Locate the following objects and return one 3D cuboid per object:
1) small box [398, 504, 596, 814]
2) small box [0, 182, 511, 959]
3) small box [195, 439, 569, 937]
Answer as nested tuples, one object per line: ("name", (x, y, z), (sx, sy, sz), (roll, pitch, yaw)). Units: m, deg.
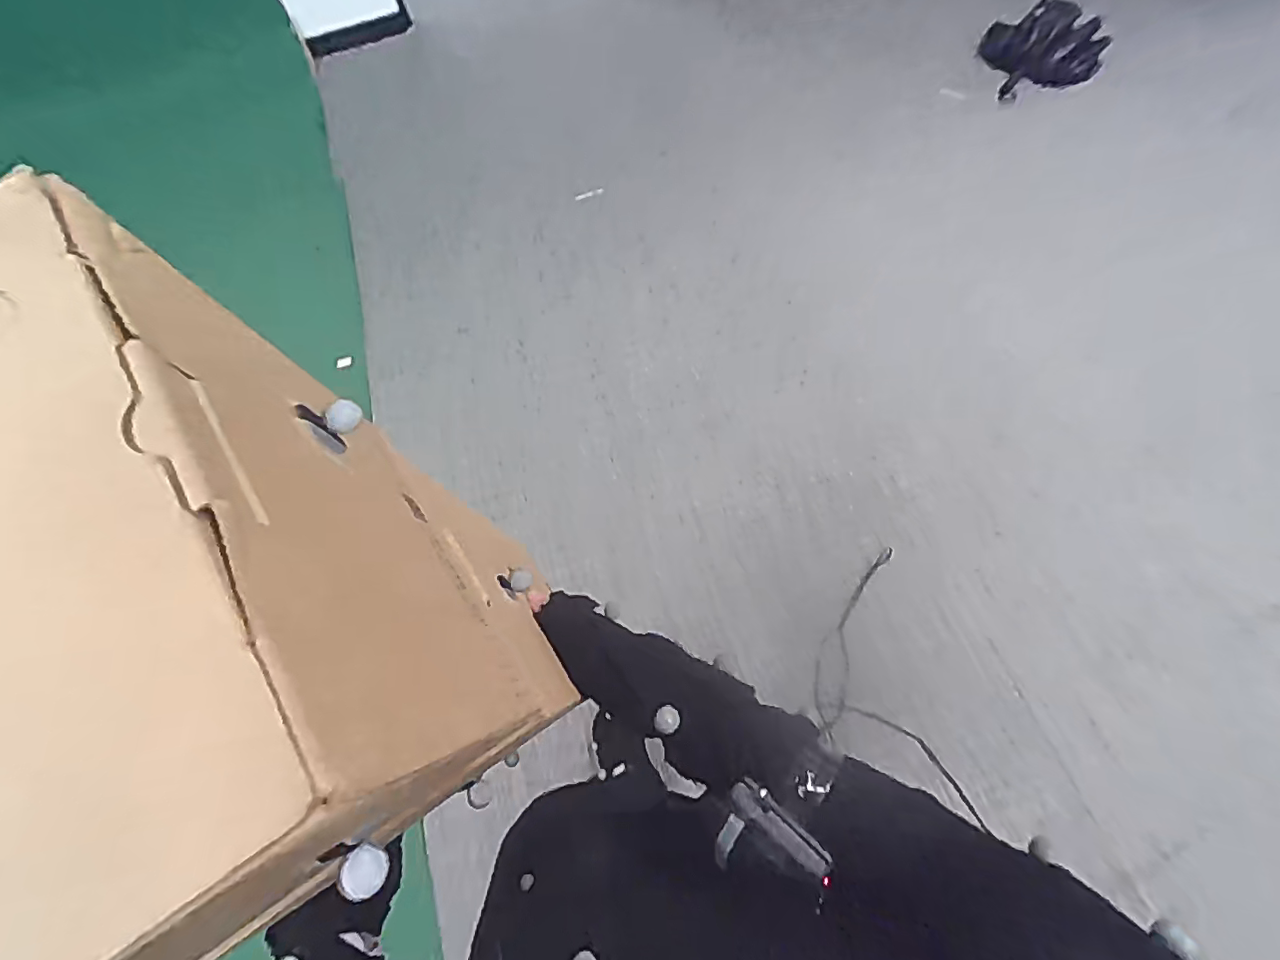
("small box", (-0.153, 0.152, 0.494), (0.179, 0.176, 0.168), (-38, 76, -10))
("small box", (-0.162, 0.056, 0.183), (0.179, 0.176, 0.168), (-34, 74, -7))
("small box", (-0.157, 0.108, 0.337), (0.179, 0.176, 0.168), (-33, 74, -9))
